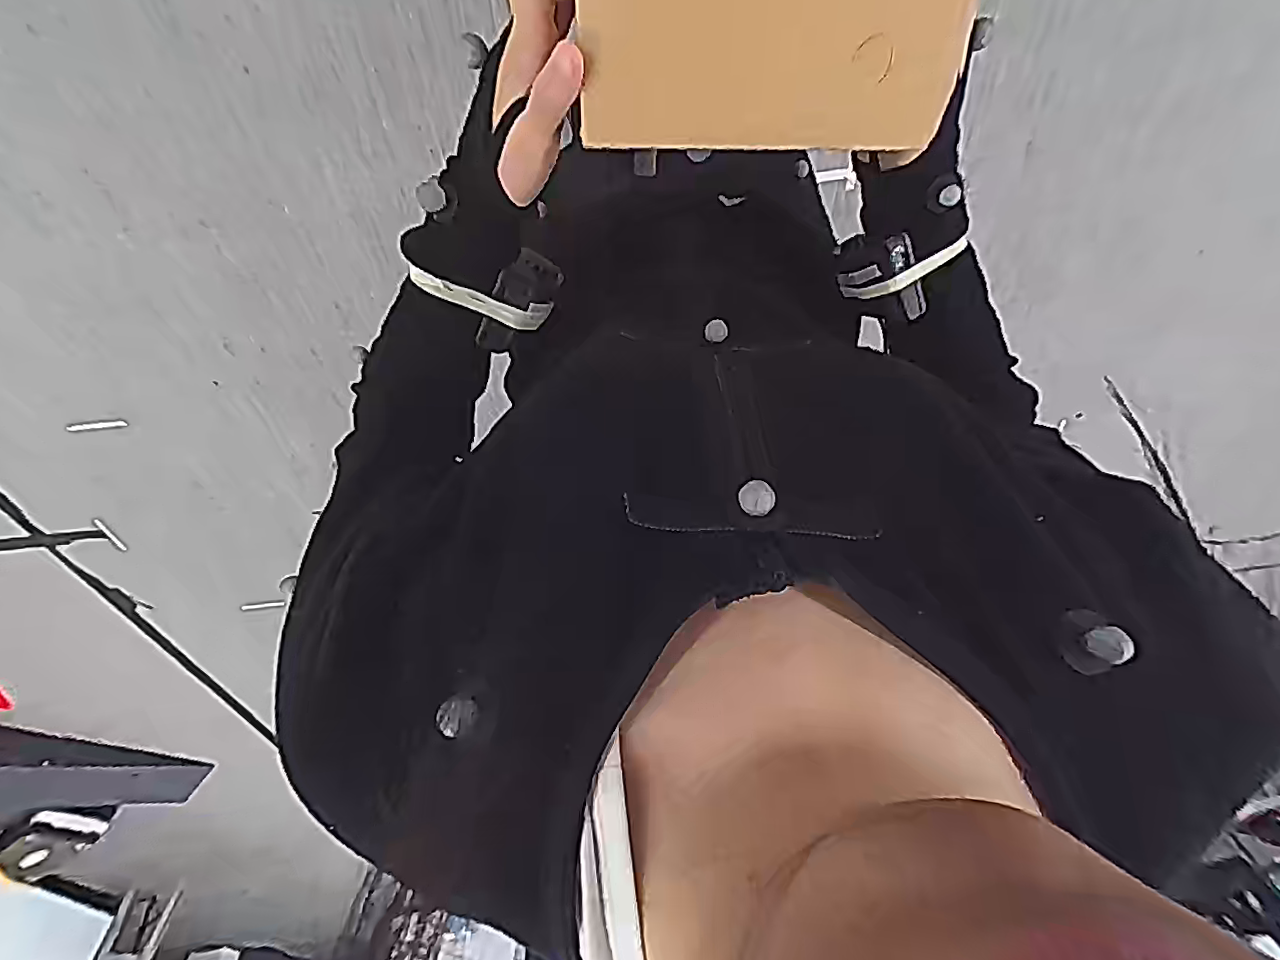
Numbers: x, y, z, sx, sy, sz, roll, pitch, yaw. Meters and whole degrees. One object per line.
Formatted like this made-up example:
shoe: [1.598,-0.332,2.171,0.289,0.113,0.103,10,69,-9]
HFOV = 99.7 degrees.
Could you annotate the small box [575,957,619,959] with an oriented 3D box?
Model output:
small box: [-0.136,1.447,1.498,0.168,0.176,0.179,0,131,-6]

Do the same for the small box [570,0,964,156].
small box: [0.057,-0.275,0.268,0.168,0.176,0.179,2,128,2]

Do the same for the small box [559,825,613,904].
small box: [-0.175,1.242,1.750,0.168,0.176,0.179,-3,130,-7]
